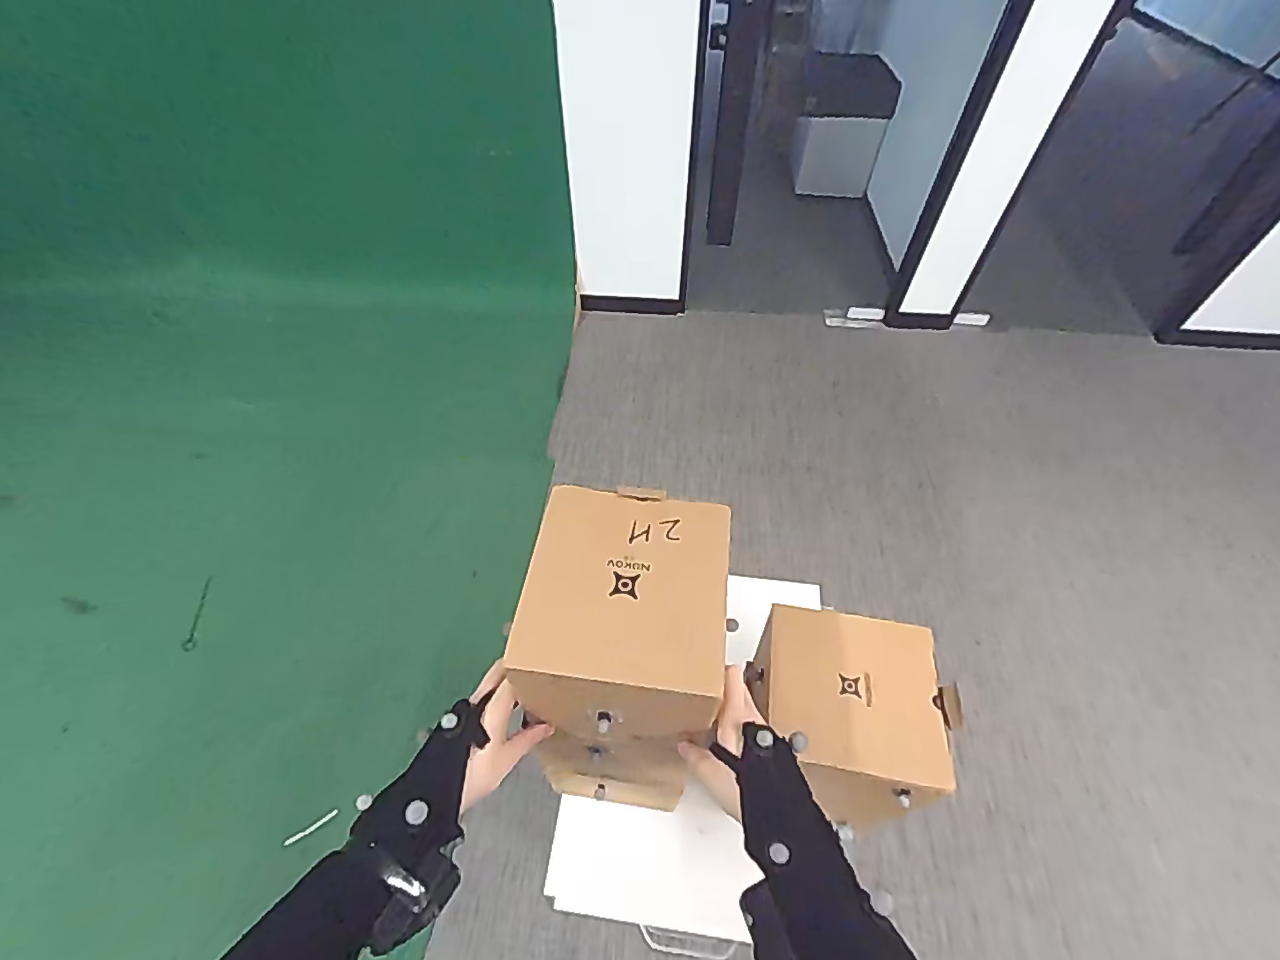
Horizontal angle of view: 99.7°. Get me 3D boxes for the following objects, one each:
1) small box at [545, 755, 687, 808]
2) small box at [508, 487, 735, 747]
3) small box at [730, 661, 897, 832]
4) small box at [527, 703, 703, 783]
[{"bbox_3d":[-0.020,0.345,0.756,0.179,0.176,0.168,7,52,4],"label":"small box"},{"bbox_3d":[-0.008,0.132,0.505,0.168,0.176,0.179,7,51,3],"label":"small box"},{"bbox_3d":[0.225,0.369,0.742,0.179,0.176,0.168,6,51,6],"label":"small box"},{"bbox_3d":[-0.017,0.239,0.631,0.179,0.176,0.168,7,51,3],"label":"small box"}]
